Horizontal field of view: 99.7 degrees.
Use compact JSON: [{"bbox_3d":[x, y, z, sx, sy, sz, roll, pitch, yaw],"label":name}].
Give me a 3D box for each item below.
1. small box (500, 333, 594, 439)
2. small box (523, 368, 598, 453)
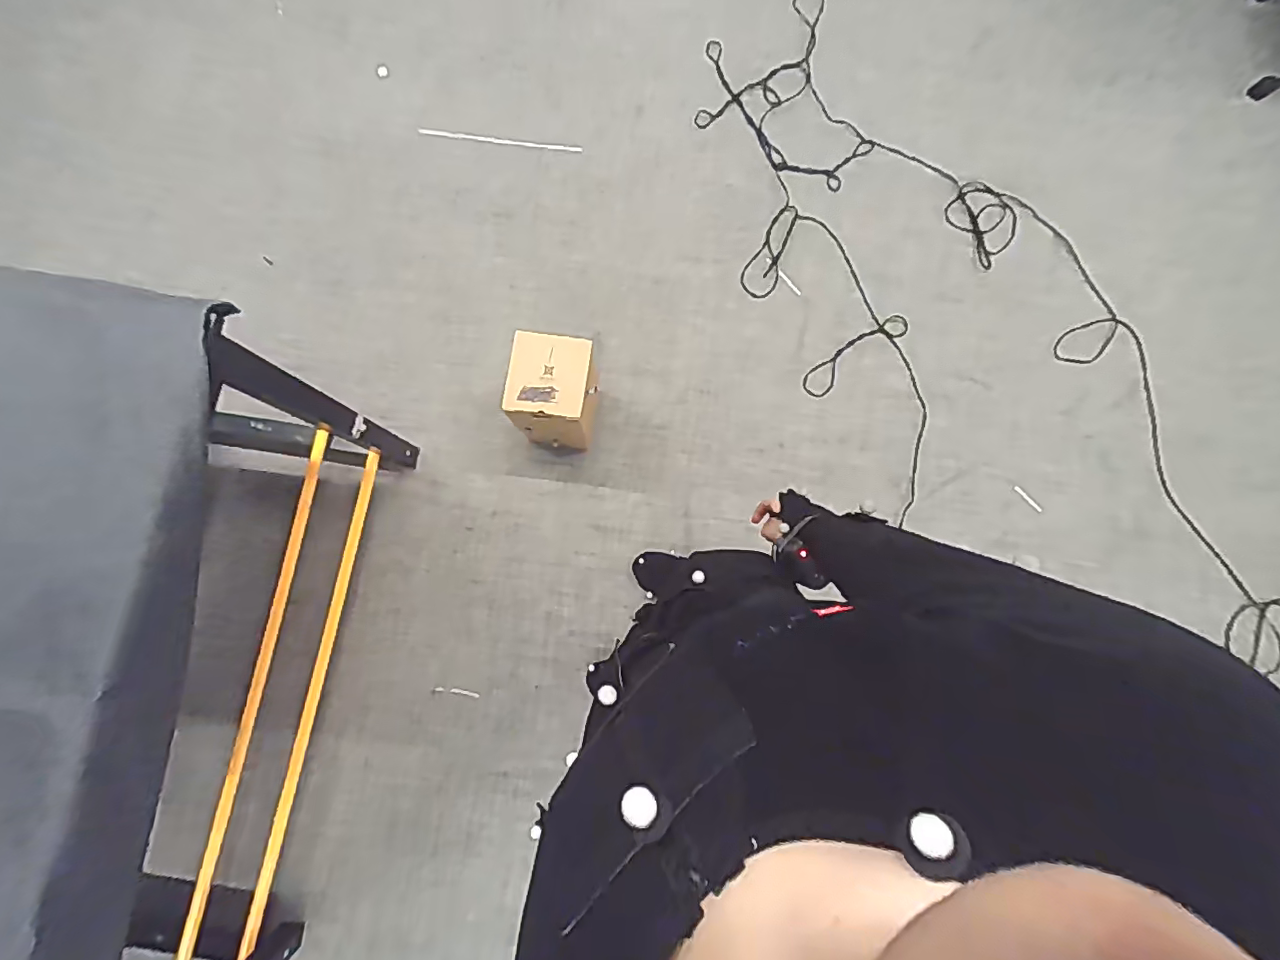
[{"bbox_3d":[-0.194,-0.198,1.188,0.168,0.176,0.179,7,79,0],"label":"small box"},{"bbox_3d":[-0.200,-0.182,1.351,0.168,0.176,0.179,9,79,1],"label":"small box"}]
